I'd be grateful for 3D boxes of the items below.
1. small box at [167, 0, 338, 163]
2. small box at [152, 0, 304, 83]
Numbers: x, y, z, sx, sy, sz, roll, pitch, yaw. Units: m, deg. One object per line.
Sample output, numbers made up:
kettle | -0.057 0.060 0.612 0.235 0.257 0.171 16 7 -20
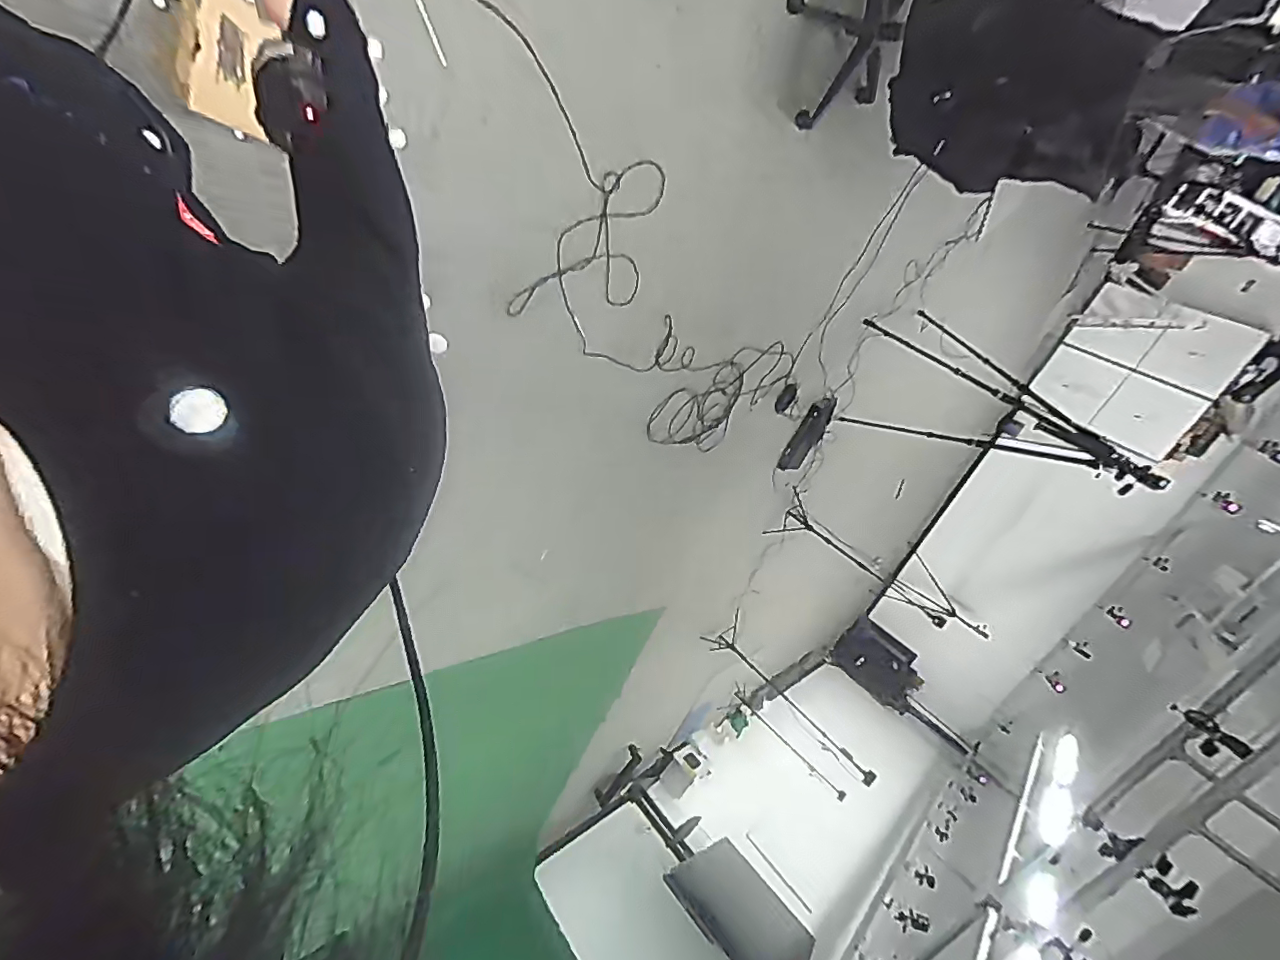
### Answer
small box | -0.620 -0.642 0.860 0.179 0.176 0.168 1 122 -52
small box | -0.722 -0.741 0.944 0.179 0.176 0.168 0 122 -51
